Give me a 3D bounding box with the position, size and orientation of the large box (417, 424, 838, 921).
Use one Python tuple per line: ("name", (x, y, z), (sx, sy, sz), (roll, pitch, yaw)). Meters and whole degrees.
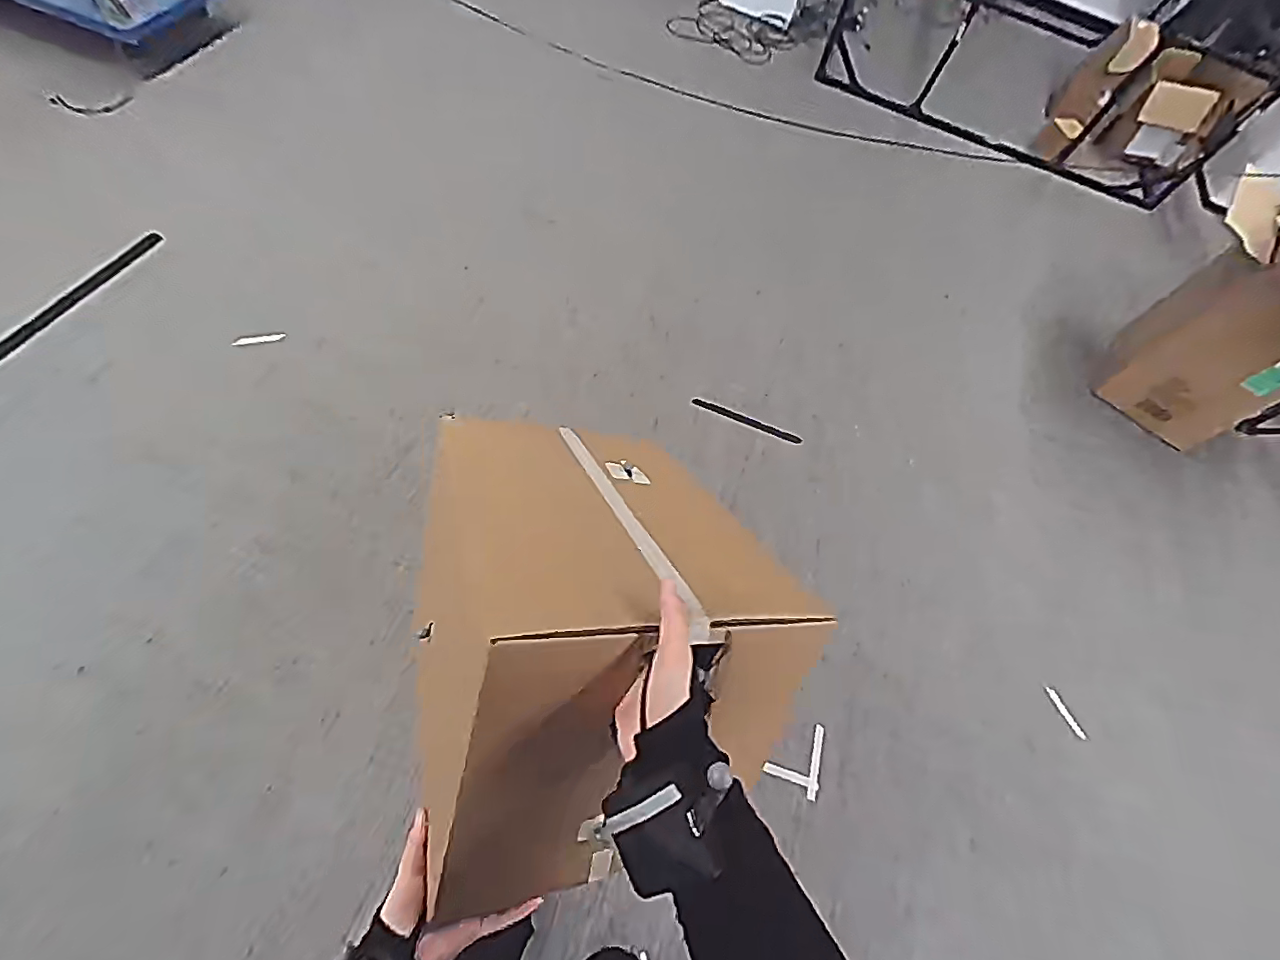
("large box", (-0.069, 0.162, 0.621), (0.320, 0.320, 0.408), (6, 23, -27))
